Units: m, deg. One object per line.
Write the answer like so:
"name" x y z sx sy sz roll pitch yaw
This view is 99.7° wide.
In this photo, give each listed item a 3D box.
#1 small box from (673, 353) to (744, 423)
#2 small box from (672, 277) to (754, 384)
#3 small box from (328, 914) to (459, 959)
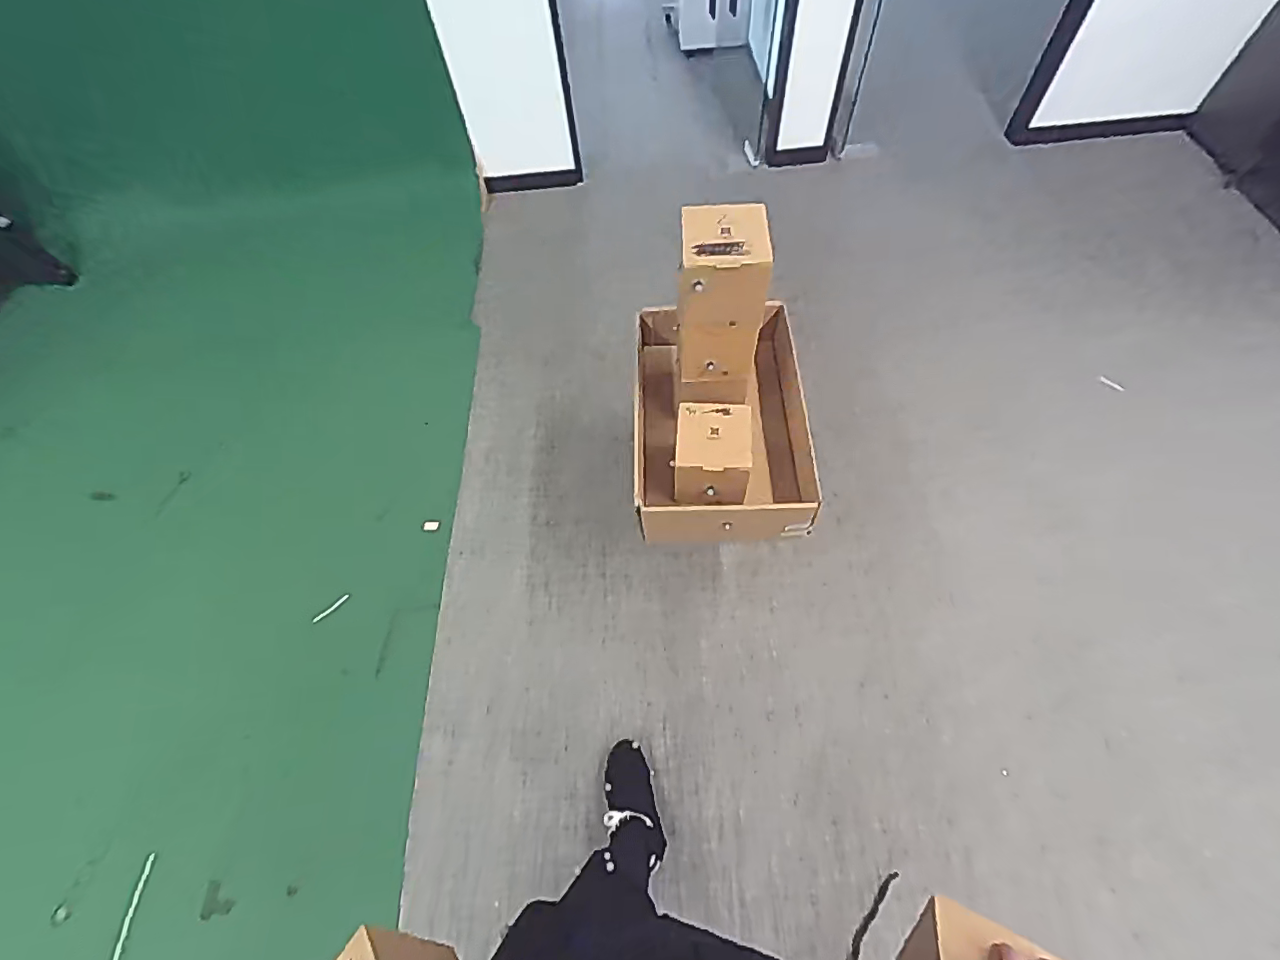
"small box" 0.169 -0.266 1.392 0.168 0.176 0.179 -2 61 3
"small box" 0.161 -0.343 1.250 0.168 0.176 0.179 -2 62 1
"small box" -0.305 0.676 0.639 0.179 0.176 0.168 13 57 48
